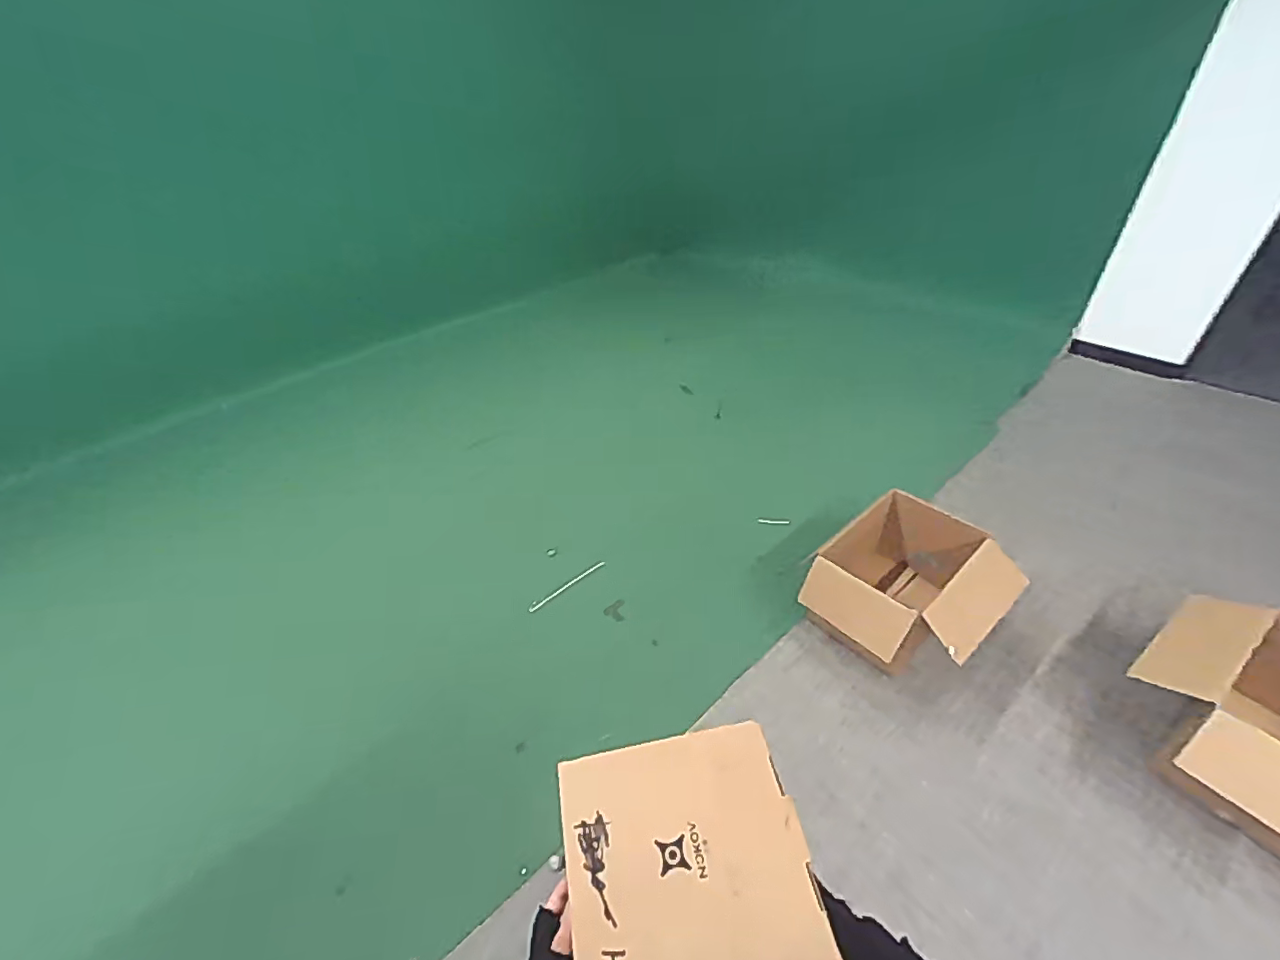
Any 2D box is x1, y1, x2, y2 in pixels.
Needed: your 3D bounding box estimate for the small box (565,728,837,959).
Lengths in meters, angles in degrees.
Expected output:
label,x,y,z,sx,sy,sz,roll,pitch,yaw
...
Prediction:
label,x,y,z,sx,sy,sz,roll,pitch,yaw
small box,0.034,0.337,0.457,0.179,0.176,0.168,-7,44,-7
